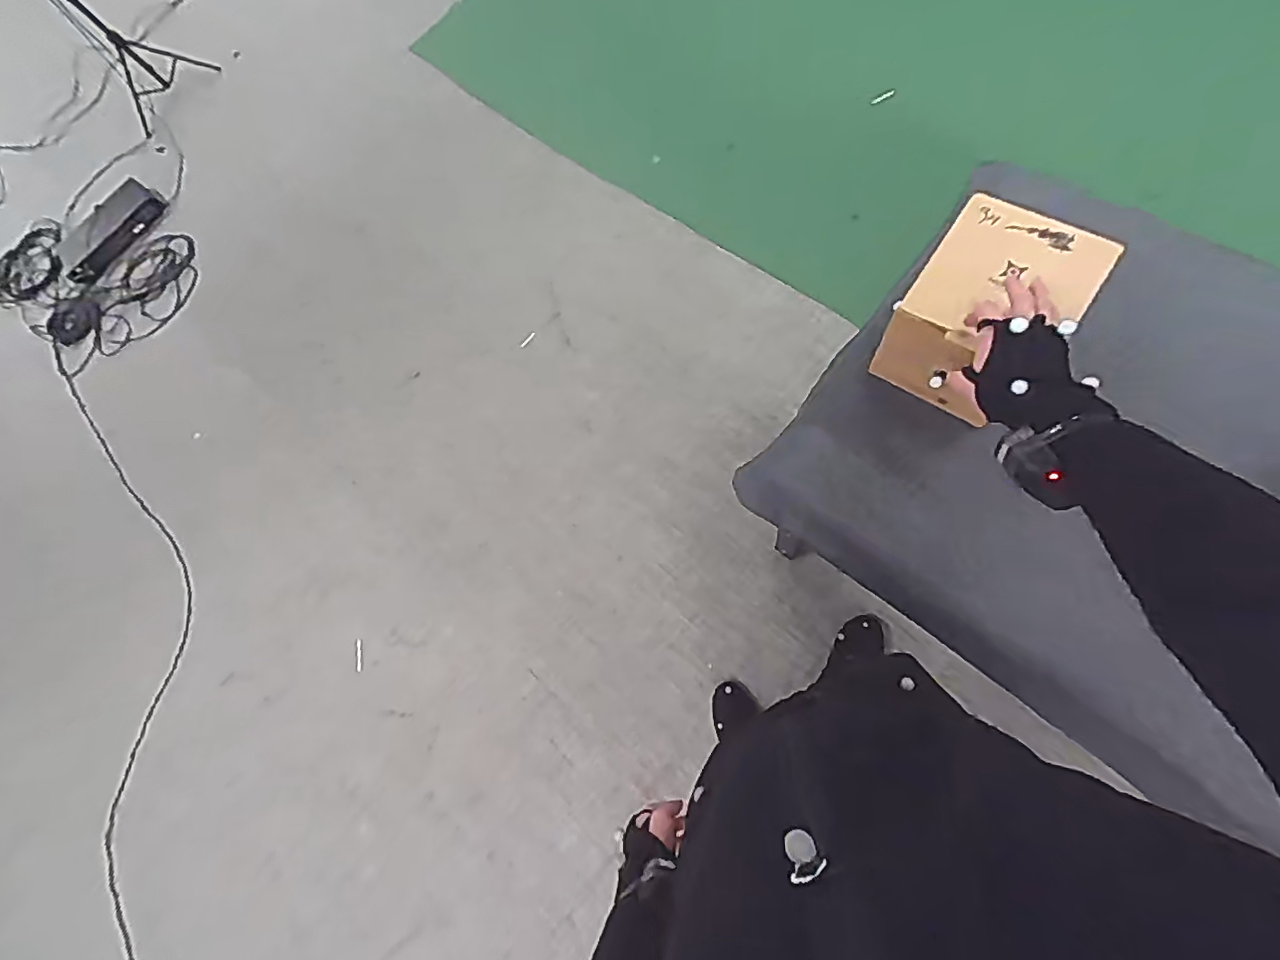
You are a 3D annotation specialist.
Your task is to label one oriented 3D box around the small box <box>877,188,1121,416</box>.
[{"bbox_3d":[0.418,-0.206,0.668,0.168,0.176,0.179,34,86,18],"label":"small box"}]
